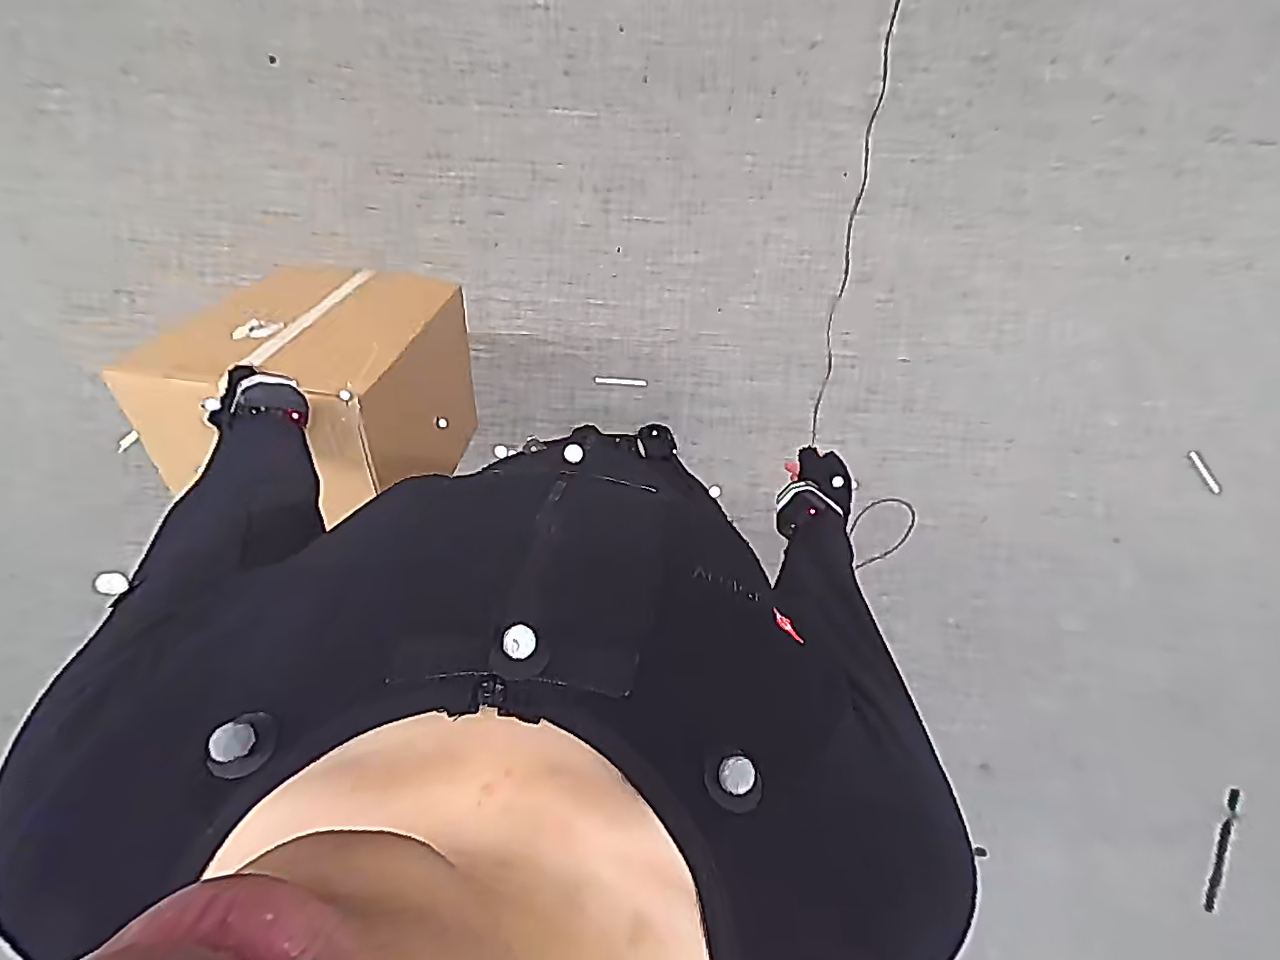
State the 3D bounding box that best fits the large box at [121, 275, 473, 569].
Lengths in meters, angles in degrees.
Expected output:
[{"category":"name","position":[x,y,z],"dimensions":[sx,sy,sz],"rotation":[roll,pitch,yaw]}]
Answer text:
[{"category":"large box","position":[-0.499,-0.112,0.916],"dimensions":[0.320,0.408,0.320],"rotation":[5,129,0]}]
